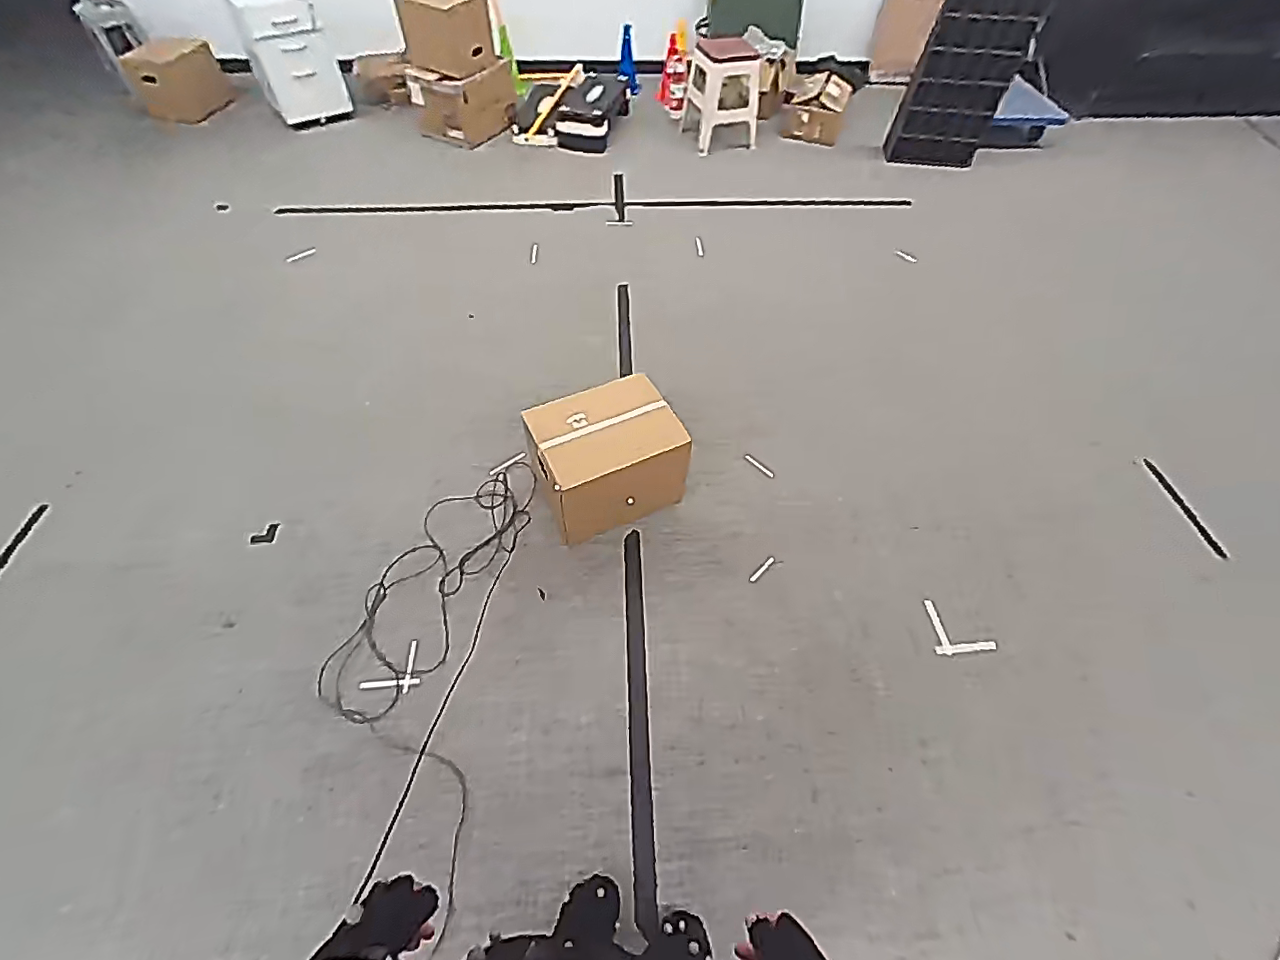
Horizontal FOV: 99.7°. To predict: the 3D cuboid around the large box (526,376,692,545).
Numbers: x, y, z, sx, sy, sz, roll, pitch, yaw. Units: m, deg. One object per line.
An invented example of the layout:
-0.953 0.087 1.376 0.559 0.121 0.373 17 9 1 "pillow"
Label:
-0.096 -0.059 1.684 0.408 0.320 0.320 -22 58 -16 "large box"
